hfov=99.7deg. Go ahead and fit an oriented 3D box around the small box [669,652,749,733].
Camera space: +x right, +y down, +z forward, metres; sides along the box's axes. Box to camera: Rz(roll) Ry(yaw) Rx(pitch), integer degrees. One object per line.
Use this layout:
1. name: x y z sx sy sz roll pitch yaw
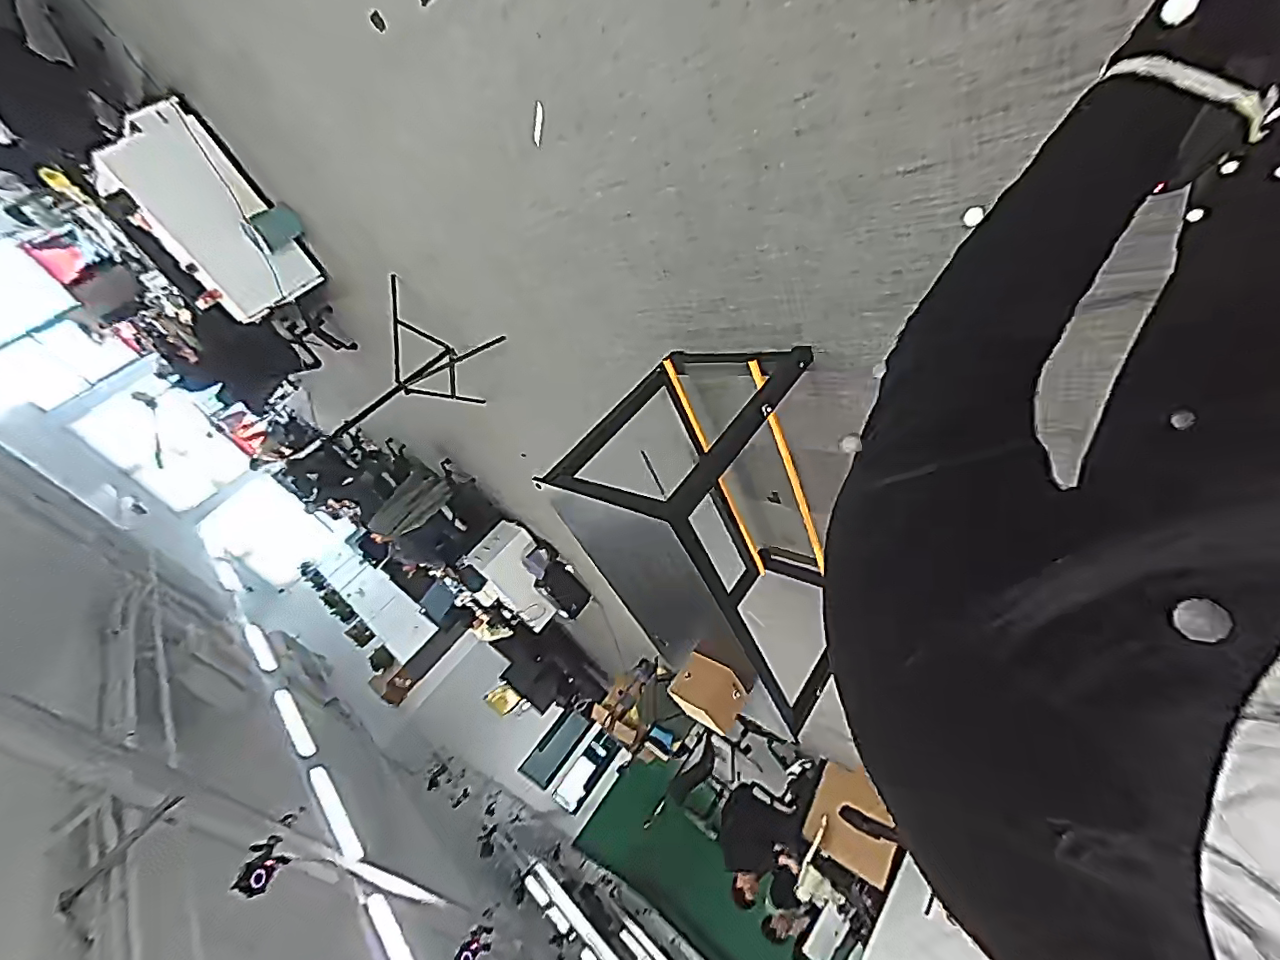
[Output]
1. small box: 0.239 0.719 1.854 0.179 0.176 0.168 8 140 50
